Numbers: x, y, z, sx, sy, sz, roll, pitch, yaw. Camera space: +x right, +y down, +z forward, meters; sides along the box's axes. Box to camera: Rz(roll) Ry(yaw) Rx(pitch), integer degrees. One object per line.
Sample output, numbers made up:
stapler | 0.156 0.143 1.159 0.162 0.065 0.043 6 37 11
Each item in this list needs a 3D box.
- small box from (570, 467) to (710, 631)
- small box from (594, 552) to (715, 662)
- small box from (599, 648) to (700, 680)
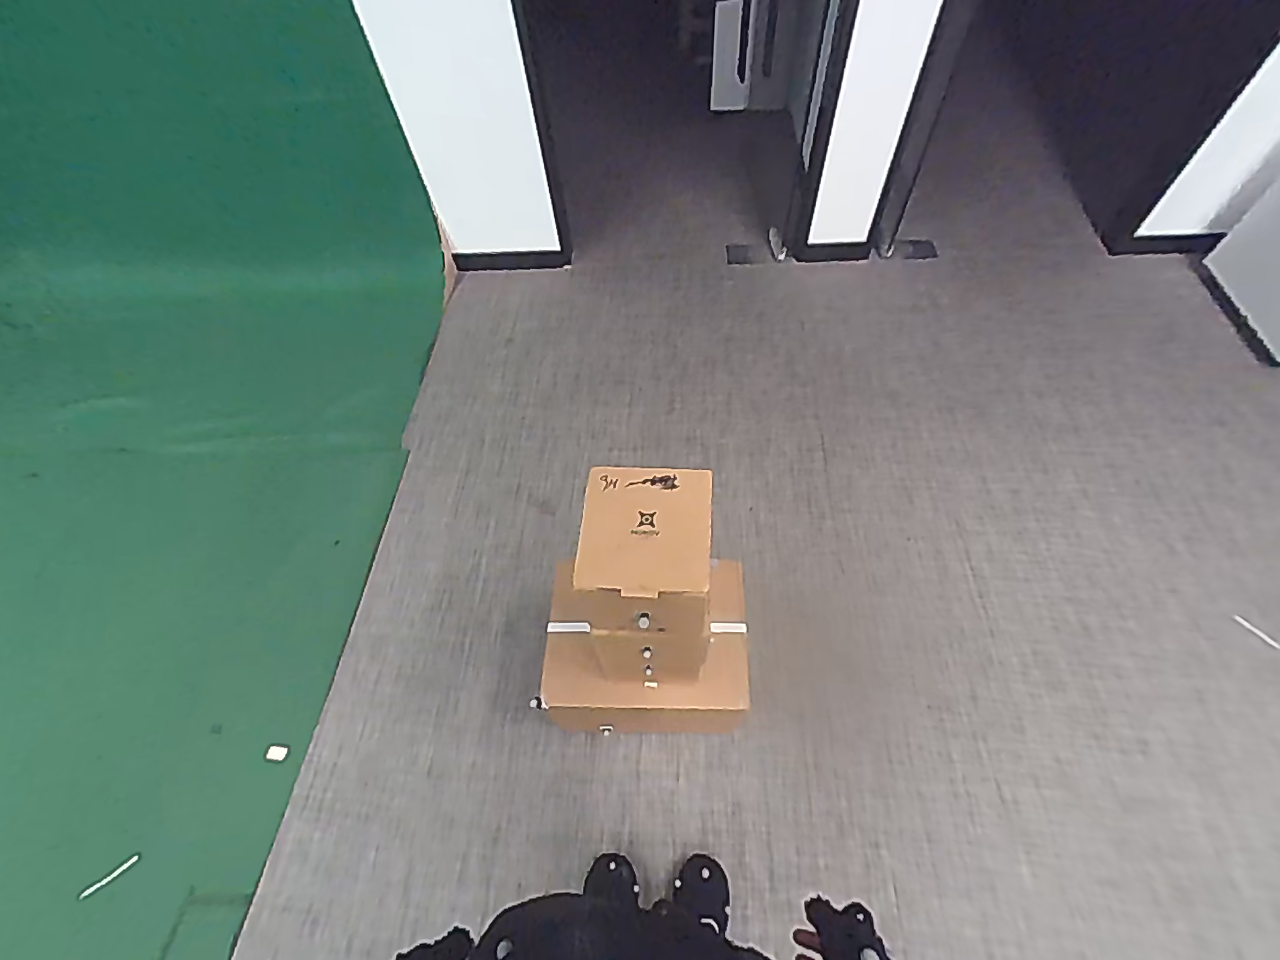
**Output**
small box | 0.011 0.100 0.749 0.168 0.176 0.179 2 59 7
small box | 0.022 0.195 0.883 0.179 0.176 0.168 -2 59 2
small box | 0.026 0.276 1.025 0.179 0.176 0.168 1 59 4
